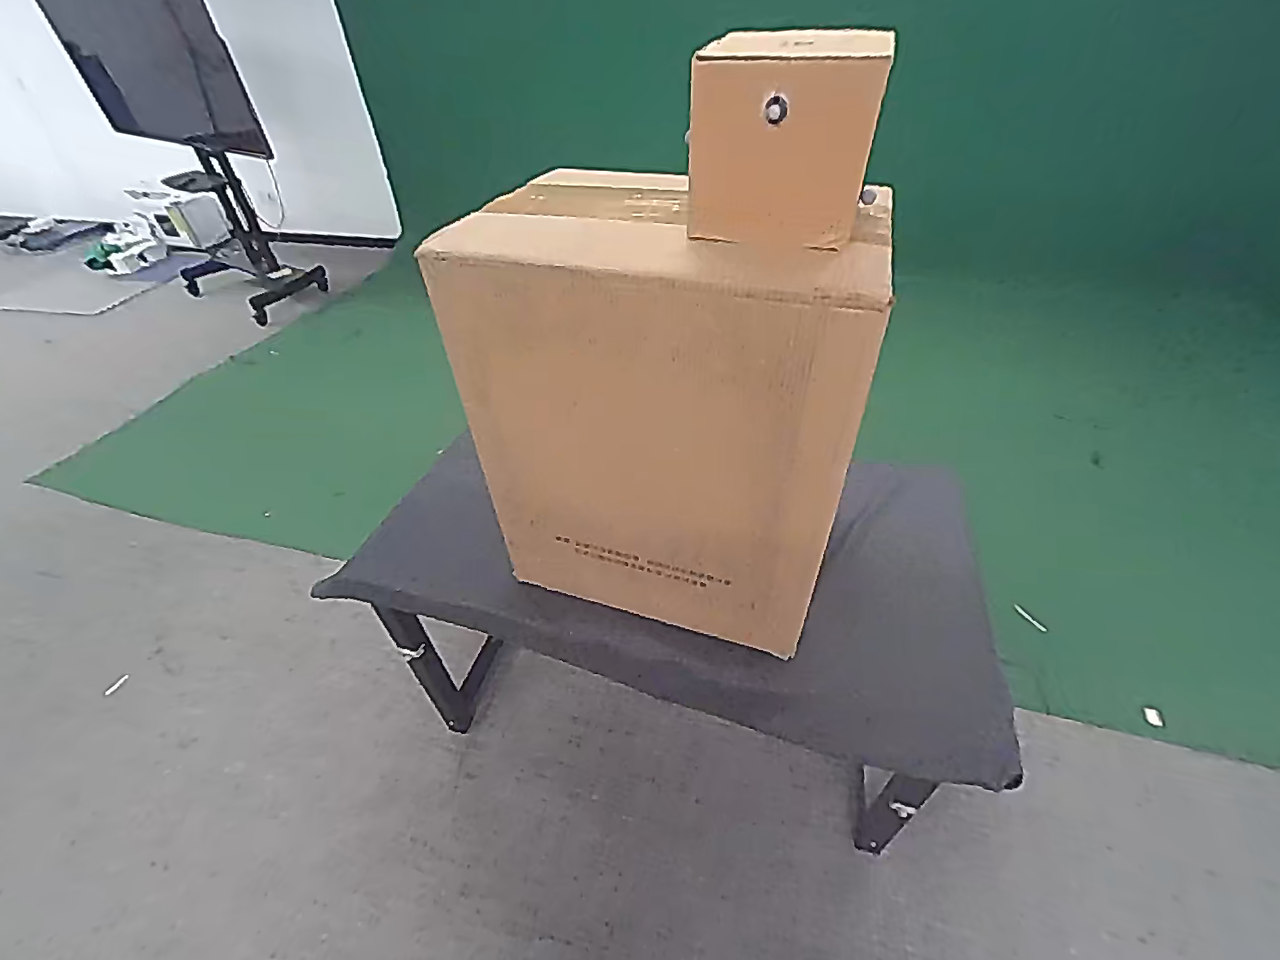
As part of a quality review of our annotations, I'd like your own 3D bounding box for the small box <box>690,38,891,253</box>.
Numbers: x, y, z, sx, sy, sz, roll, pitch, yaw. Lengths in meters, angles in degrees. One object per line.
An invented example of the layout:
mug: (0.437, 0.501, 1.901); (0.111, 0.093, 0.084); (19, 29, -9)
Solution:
small box: (0.158, -0.366, 0.593); (0.179, 0.176, 0.168); (13, 47, 13)
